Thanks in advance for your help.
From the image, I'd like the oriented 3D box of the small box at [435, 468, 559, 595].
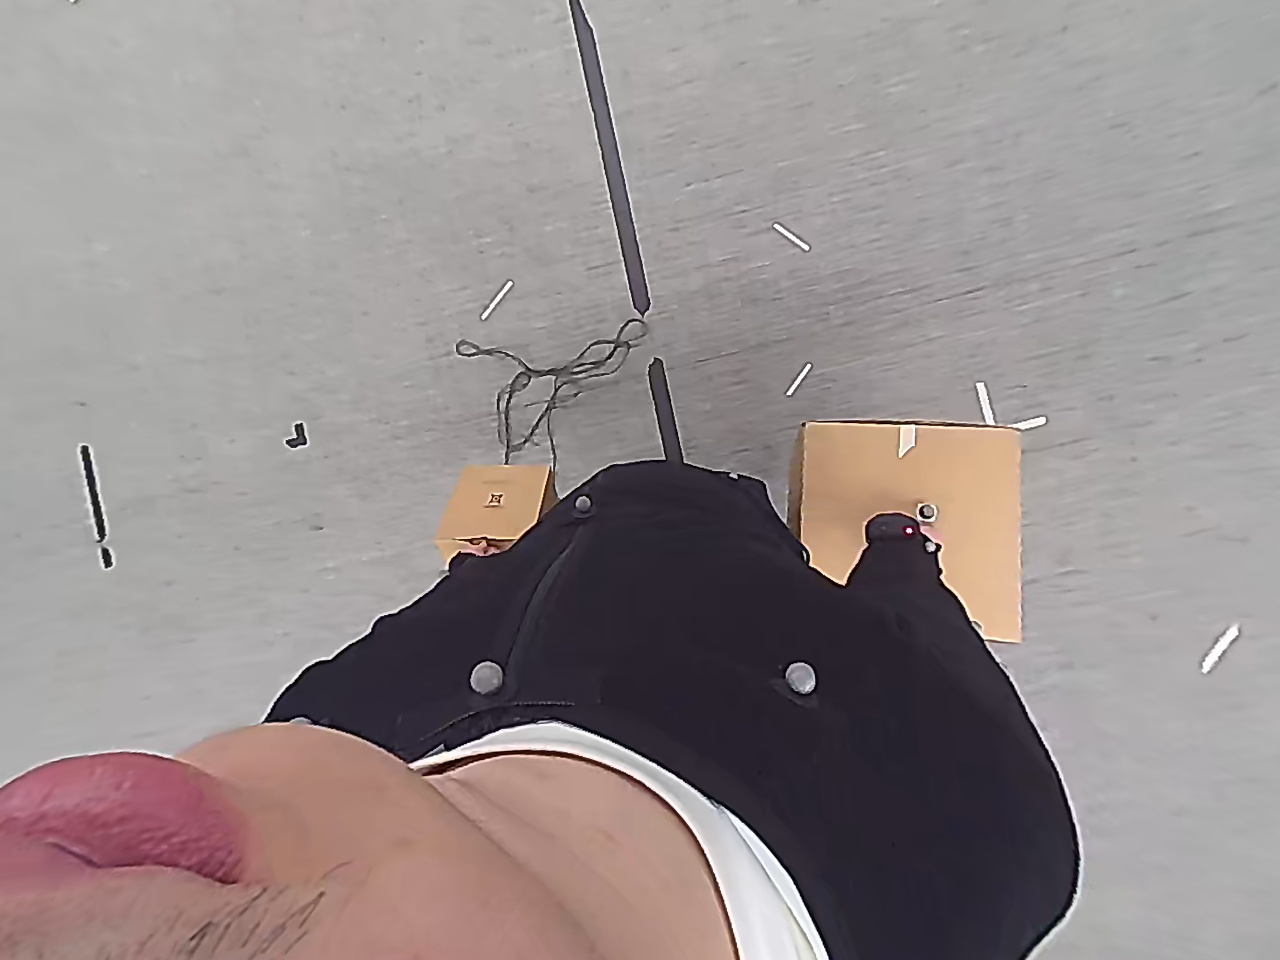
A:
[{"bbox_3d":[-0.249,0.097,0.997,0.168,0.179,0.176,1,135,3],"label":"small box"}]
